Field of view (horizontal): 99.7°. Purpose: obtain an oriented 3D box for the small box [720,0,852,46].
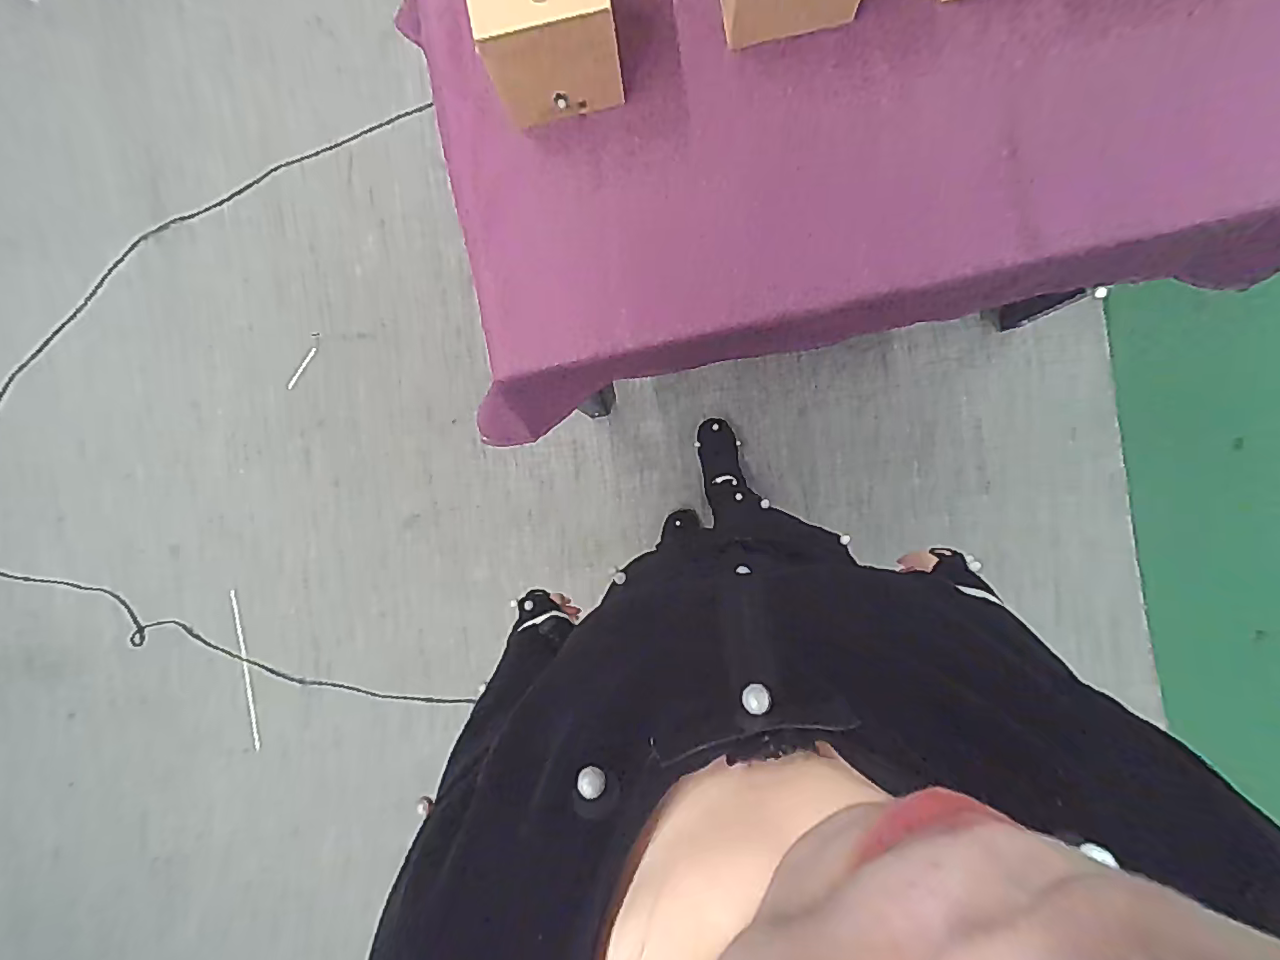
[{"bbox_3d":[0.190,-0.702,0.680,0.179,0.176,0.168,-9,90,6],"label":"small box"}]
